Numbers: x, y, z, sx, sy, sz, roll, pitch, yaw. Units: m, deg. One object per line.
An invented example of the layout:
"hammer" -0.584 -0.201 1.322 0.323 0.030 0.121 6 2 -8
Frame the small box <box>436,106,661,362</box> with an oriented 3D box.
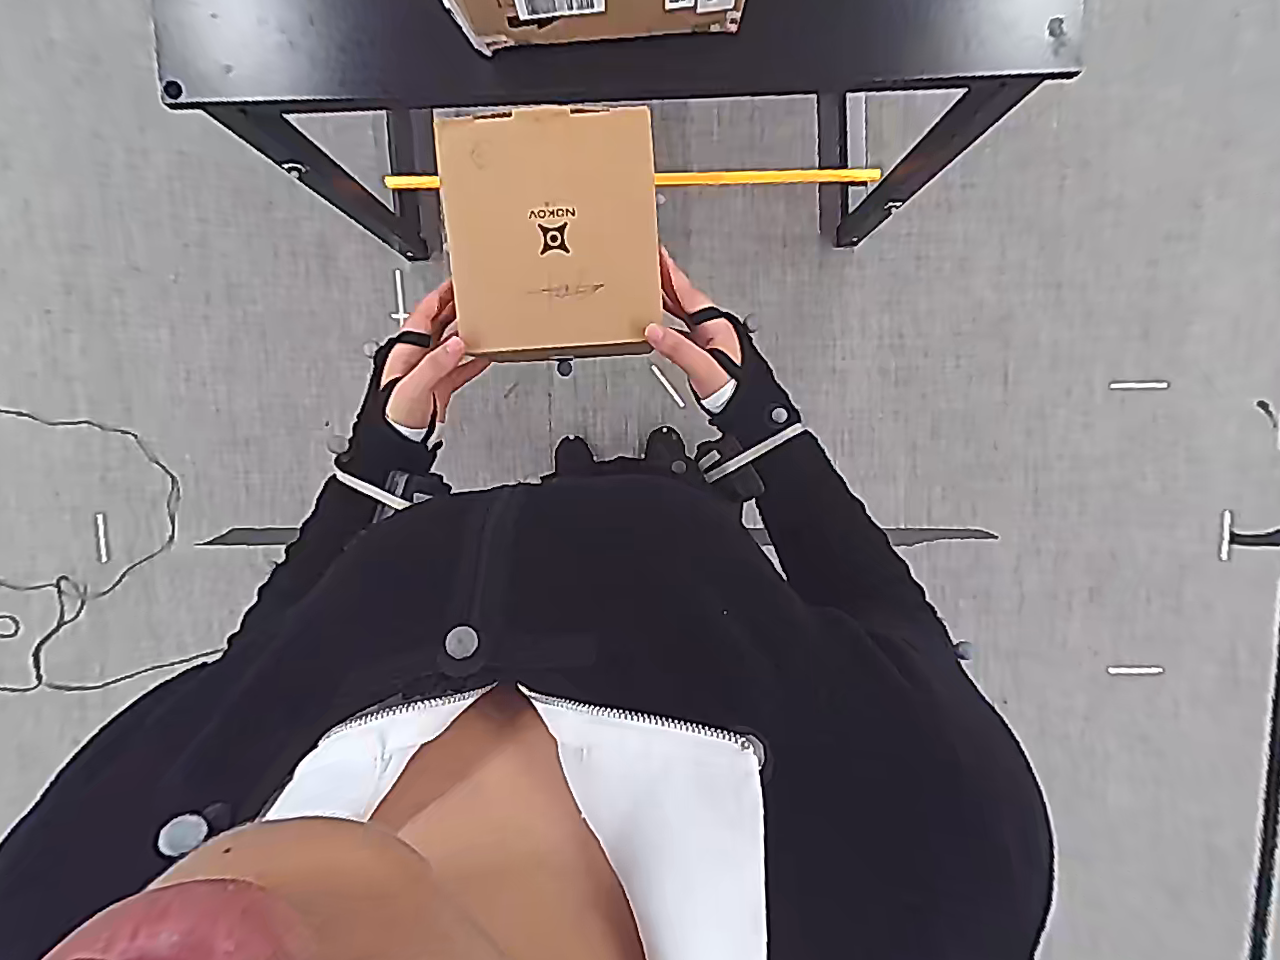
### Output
"small box" -0.072 -0.207 0.500 0.168 0.176 0.179 -4 100 -2
